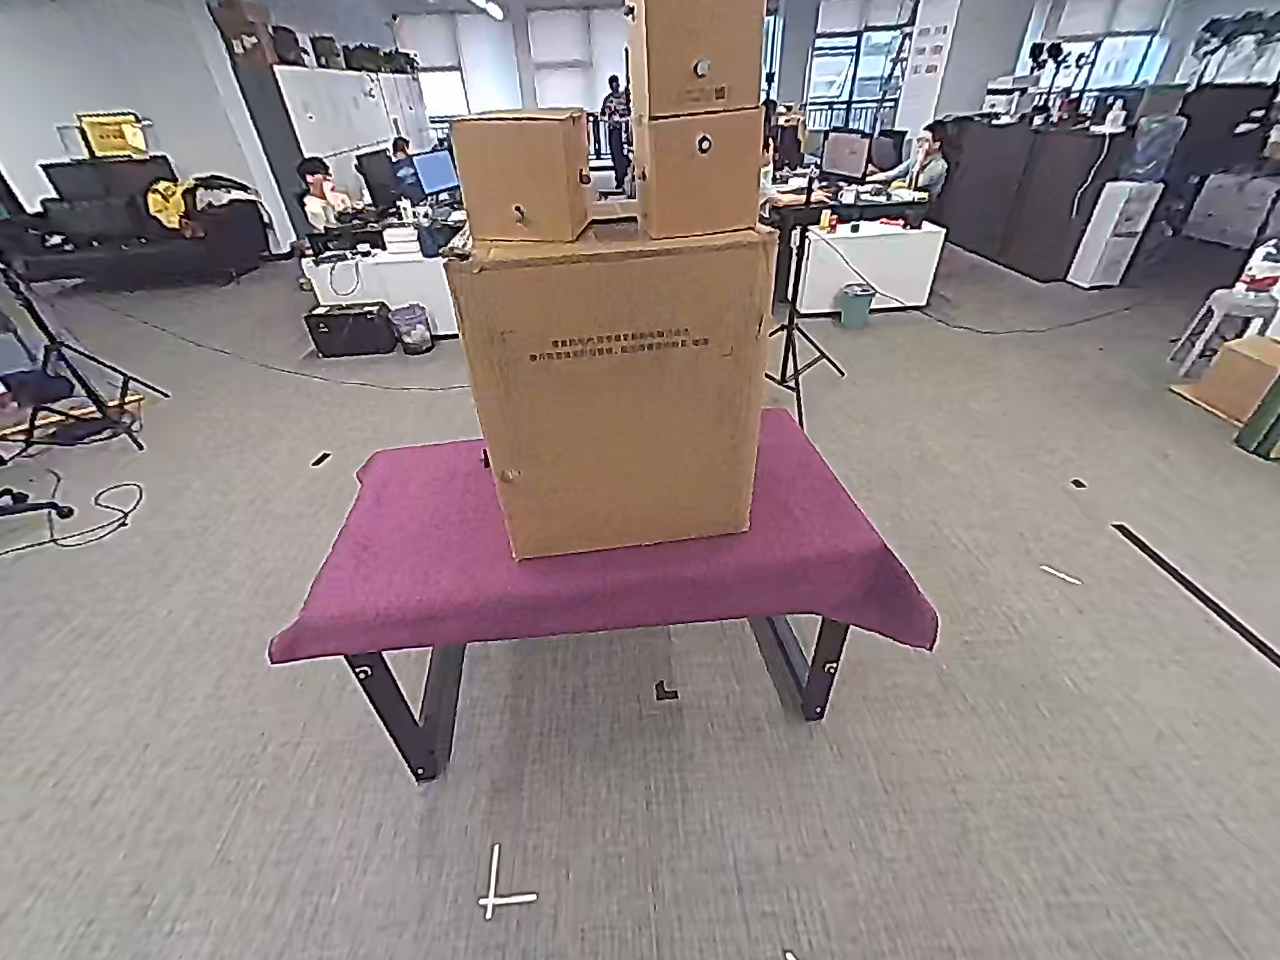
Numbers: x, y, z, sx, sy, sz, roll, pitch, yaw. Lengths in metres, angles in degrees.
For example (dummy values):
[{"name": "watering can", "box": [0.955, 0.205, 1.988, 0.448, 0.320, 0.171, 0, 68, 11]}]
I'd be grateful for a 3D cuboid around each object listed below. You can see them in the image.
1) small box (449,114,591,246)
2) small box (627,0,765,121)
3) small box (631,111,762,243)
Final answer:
[{"name": "small box", "box": [-0.183, -0.493, 0.891, 0.179, 0.176, 0.168, 4, 38, 7]}, {"name": "small box", "box": [0.074, -0.632, 0.791, 0.168, 0.176, 0.179, -9, 38, -4]}, {"name": "small box", "box": [0.088, -0.498, 0.886, 0.179, 0.176, 0.168, -8, 37, -6]}]
